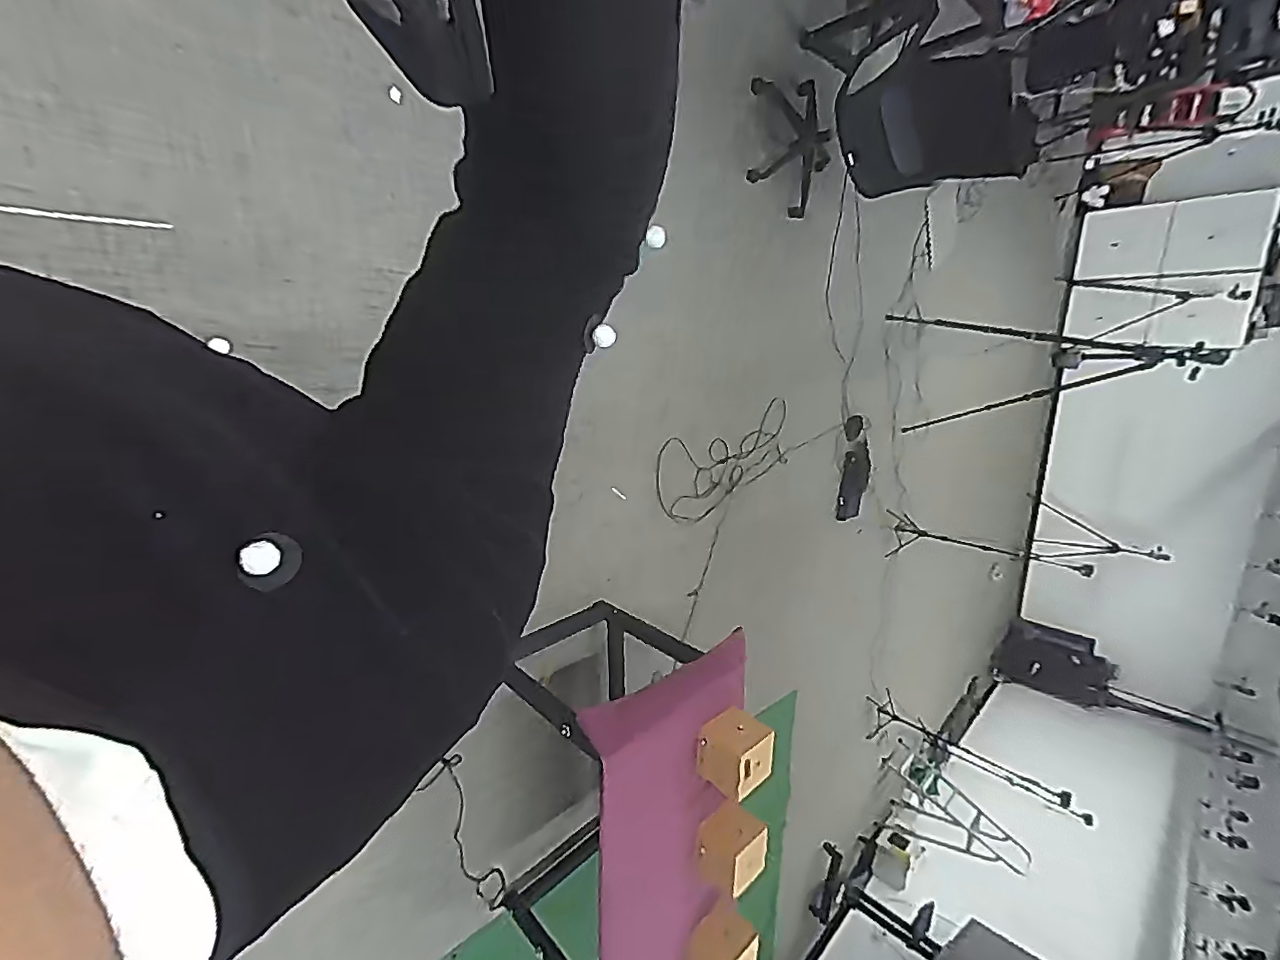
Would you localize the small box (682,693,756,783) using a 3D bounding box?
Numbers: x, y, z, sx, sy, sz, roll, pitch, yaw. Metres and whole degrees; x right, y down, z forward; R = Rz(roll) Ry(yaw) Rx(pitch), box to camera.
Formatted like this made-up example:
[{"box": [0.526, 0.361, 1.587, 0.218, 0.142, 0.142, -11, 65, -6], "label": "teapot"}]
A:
[{"box": [0.254, 0.830, 1.759, 0.179, 0.176, 0.168, -12, 110, -43], "label": "small box"}]

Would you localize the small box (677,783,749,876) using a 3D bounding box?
[{"box": [0.251, 1.193, 1.864, 0.179, 0.176, 0.168, -9, 107, -43], "label": "small box"}]

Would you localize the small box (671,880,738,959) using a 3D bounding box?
[{"box": [0.233, 1.618, 1.963, 0.179, 0.176, 0.168, -12, 109, -44], "label": "small box"}]
